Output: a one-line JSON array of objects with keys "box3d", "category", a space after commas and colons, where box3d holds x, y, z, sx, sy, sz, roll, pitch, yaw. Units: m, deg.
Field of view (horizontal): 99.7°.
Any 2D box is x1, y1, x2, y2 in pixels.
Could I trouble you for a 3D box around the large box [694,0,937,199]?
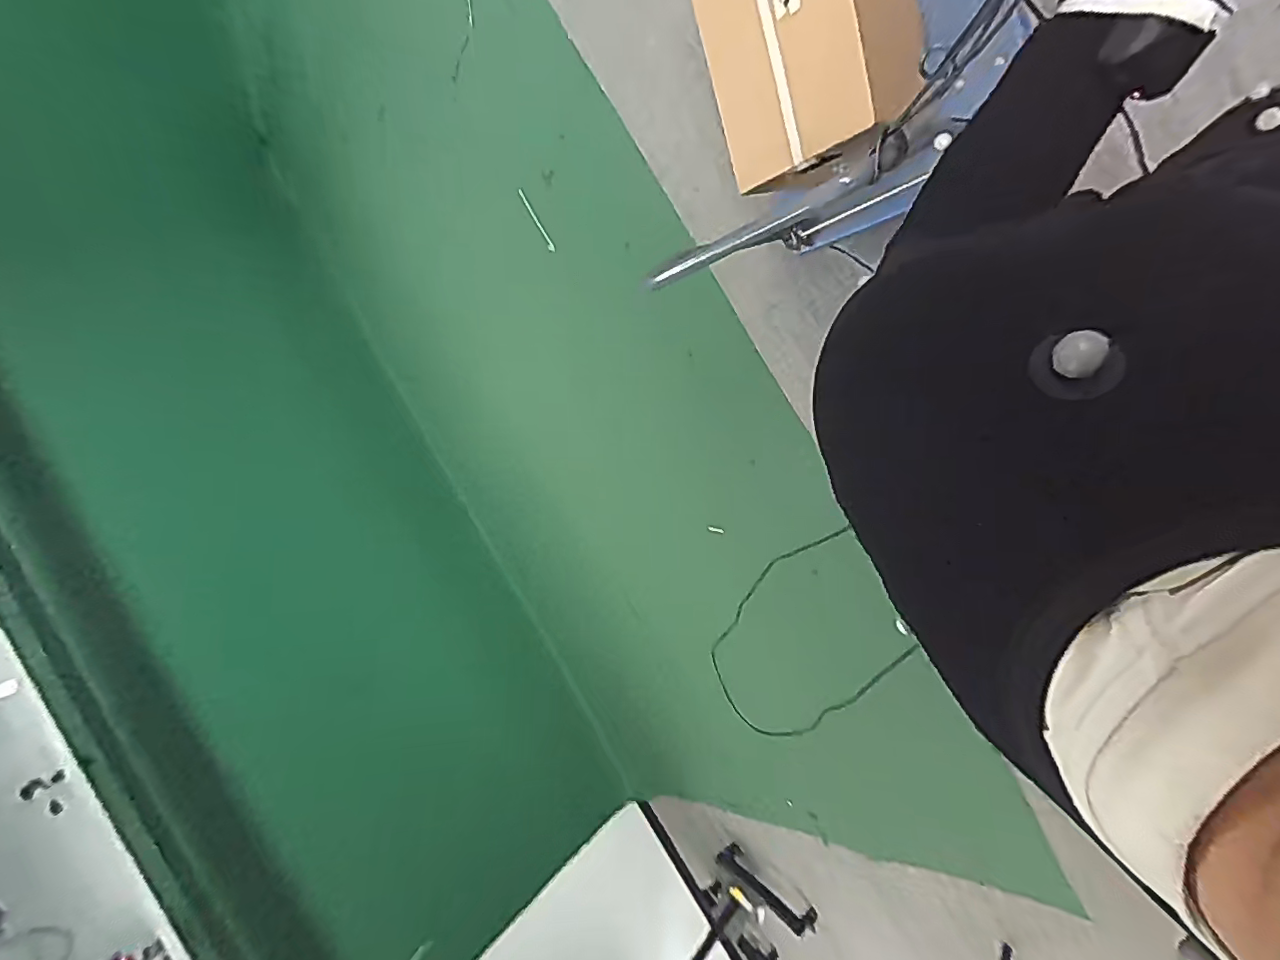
[{"box3d": [0.372, -0.862, 1.126, 0.320, 0.320, 0.408, -2, 111, 49], "category": "large box"}]
